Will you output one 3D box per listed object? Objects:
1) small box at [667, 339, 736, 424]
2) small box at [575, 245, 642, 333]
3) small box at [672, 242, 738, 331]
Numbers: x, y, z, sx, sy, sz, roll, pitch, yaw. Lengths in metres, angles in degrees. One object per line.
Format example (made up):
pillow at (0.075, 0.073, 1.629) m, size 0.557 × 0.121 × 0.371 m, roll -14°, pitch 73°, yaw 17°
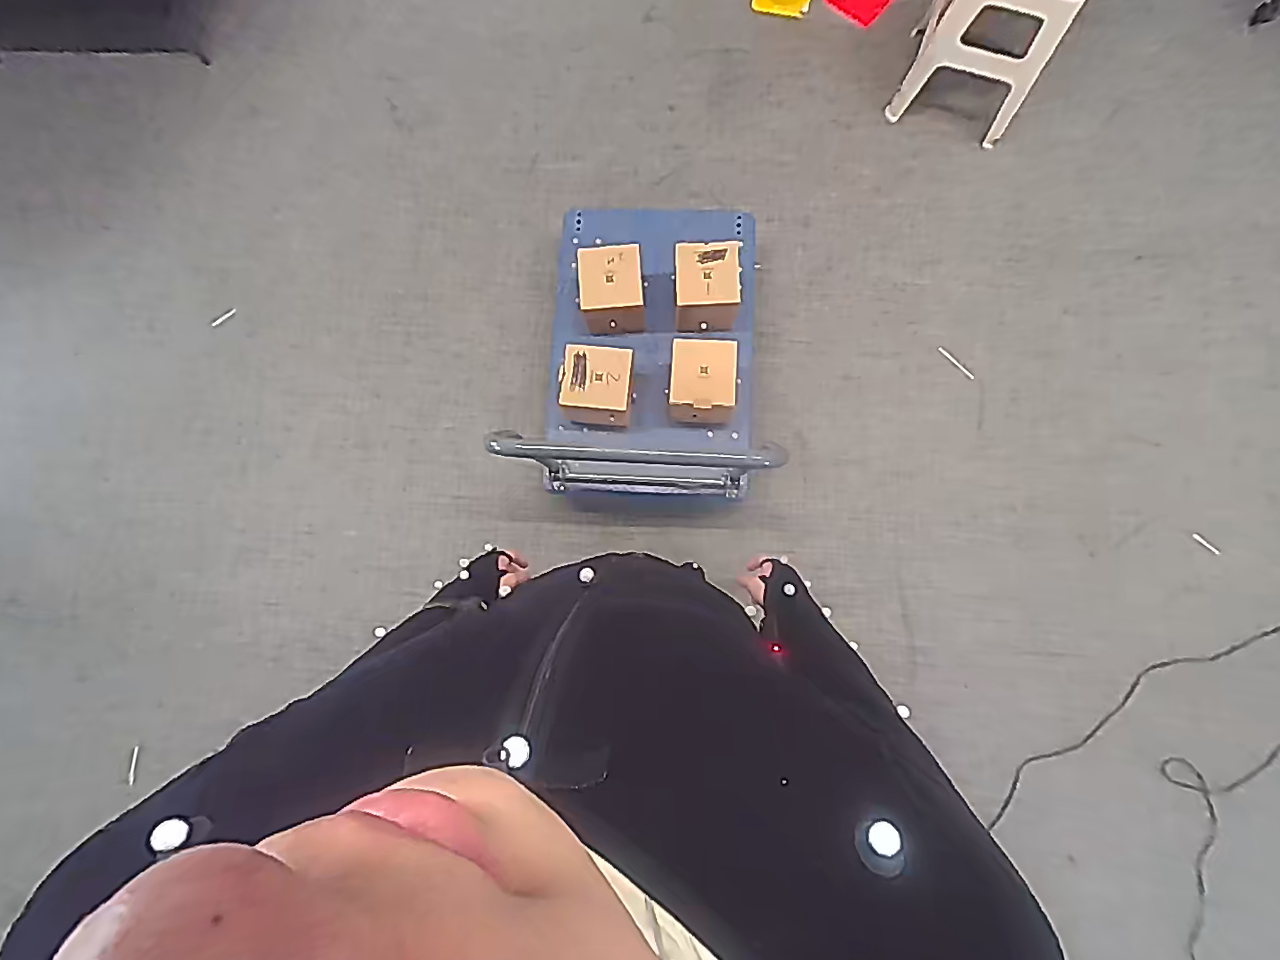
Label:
small box at (0.160, -0.260, 1.447) m, size 0.168 × 0.176 × 0.179 m, roll 2°, pitch 82°, yaw 2°
small box at (-0.083, -0.518, 1.493) m, size 0.168 × 0.176 × 0.179 m, roll -4°, pitch 82°, yaw 1°
small box at (0.173, -0.526, 1.485) m, size 0.168 × 0.176 × 0.179 m, roll -2°, pitch 82°, yaw 2°
